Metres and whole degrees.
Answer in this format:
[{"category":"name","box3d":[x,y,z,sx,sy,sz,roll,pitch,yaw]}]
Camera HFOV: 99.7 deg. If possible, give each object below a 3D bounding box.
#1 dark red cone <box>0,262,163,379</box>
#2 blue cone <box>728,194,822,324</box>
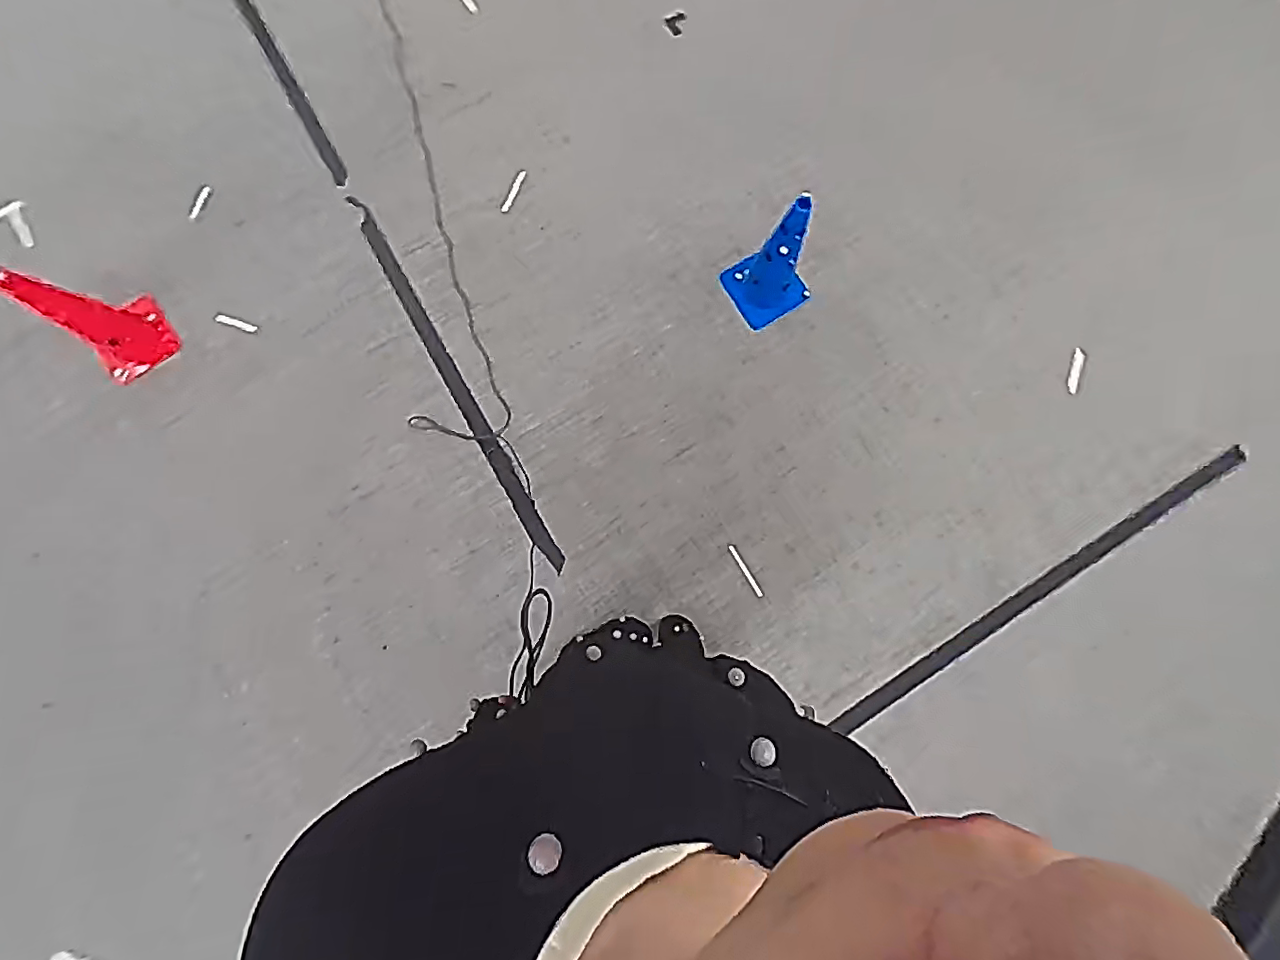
[{"category":"dark red cone","box3d":[-1.389,-0.417,1.279,0.201,0.394,0.202,-38,83,-7]},{"category":"blue cone","box3d":[0.363,-0.570,1.350,0.192,0.380,0.193,-30,82,-6]}]
